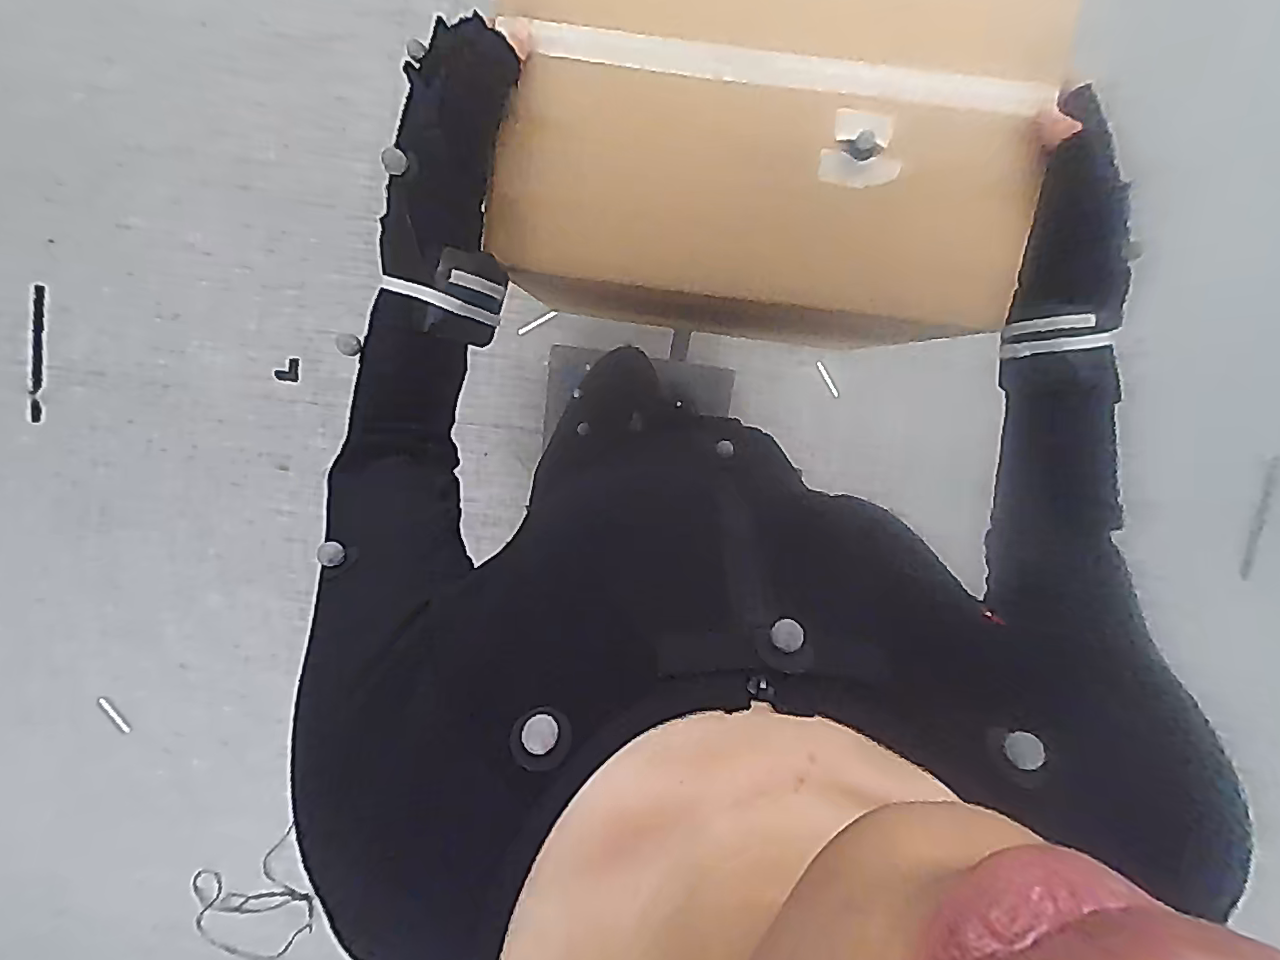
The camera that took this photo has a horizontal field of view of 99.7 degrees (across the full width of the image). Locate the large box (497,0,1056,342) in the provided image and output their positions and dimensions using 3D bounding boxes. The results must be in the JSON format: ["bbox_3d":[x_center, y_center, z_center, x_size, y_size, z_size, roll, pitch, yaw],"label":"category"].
[{"bbox_3d":[0.096,-0.327,0.549,0.408,0.320,0.320,7,101,-2],"label":"large box"}]
